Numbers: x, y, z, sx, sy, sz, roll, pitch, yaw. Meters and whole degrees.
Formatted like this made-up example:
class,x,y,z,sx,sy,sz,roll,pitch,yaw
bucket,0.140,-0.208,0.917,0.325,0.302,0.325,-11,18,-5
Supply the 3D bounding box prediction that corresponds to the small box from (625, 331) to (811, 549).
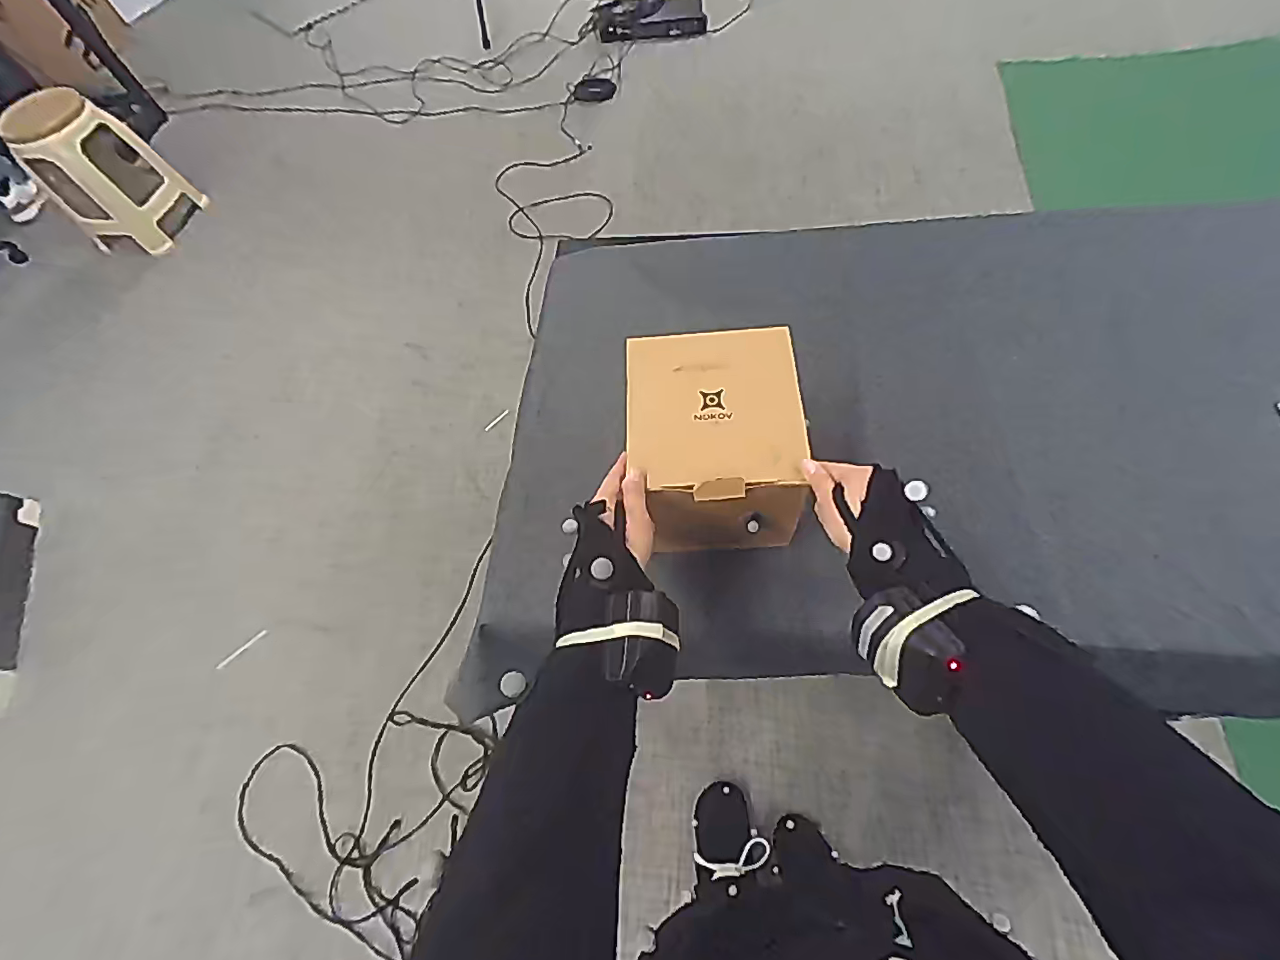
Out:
class,x,y,z,sx,sy,sz,roll,pitch,yaw
small box,0.076,-0.031,0.579,0.168,0.176,0.179,-3,62,4
